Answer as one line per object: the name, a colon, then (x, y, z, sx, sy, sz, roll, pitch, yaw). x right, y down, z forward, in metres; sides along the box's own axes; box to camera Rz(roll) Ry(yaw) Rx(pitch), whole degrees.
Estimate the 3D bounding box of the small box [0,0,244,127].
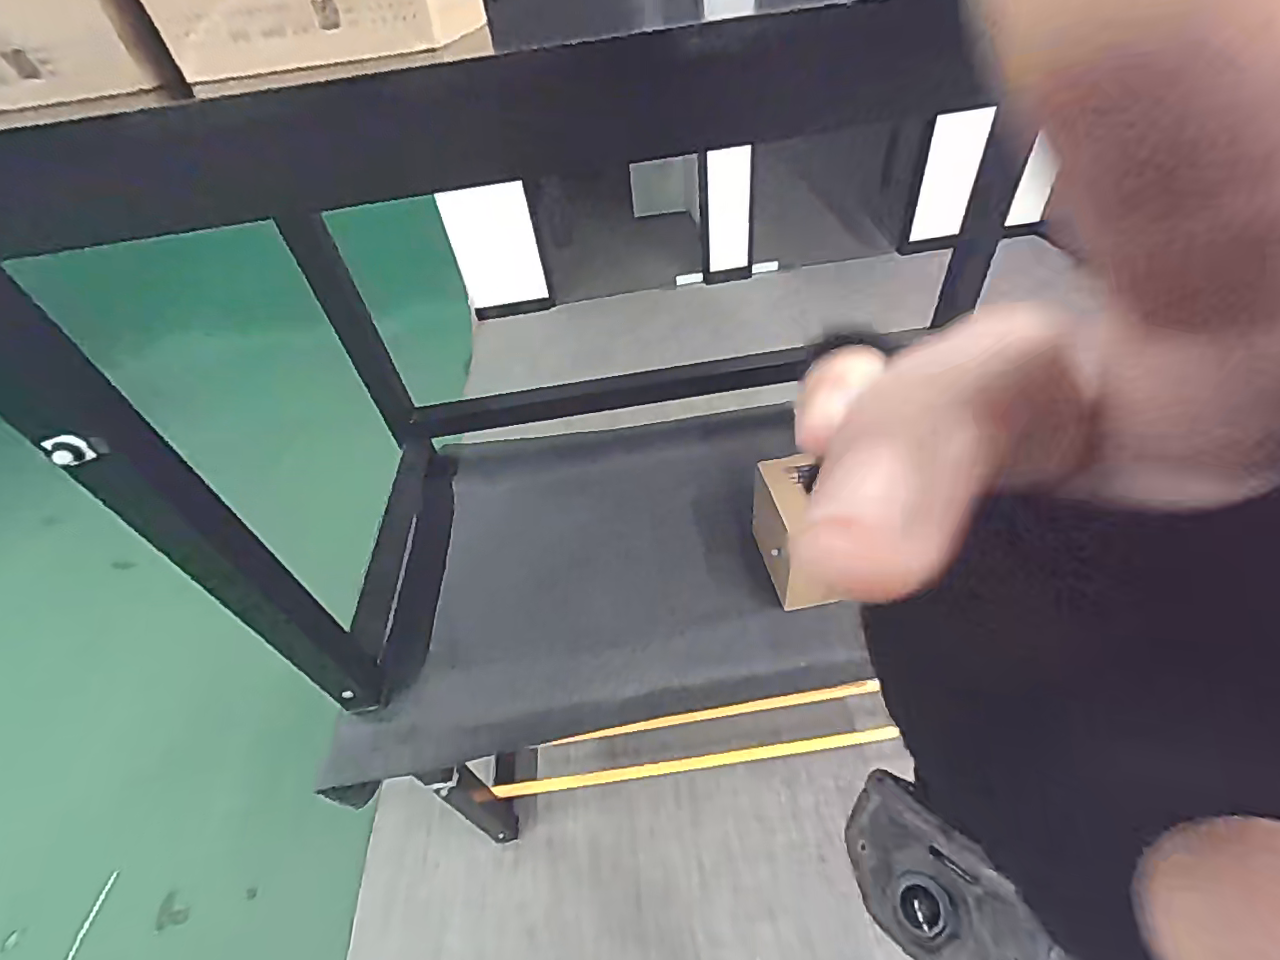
small box: (-0.401, -0.340, 0.343, 0.168, 0.176, 0.179, -10, 45, -2)
